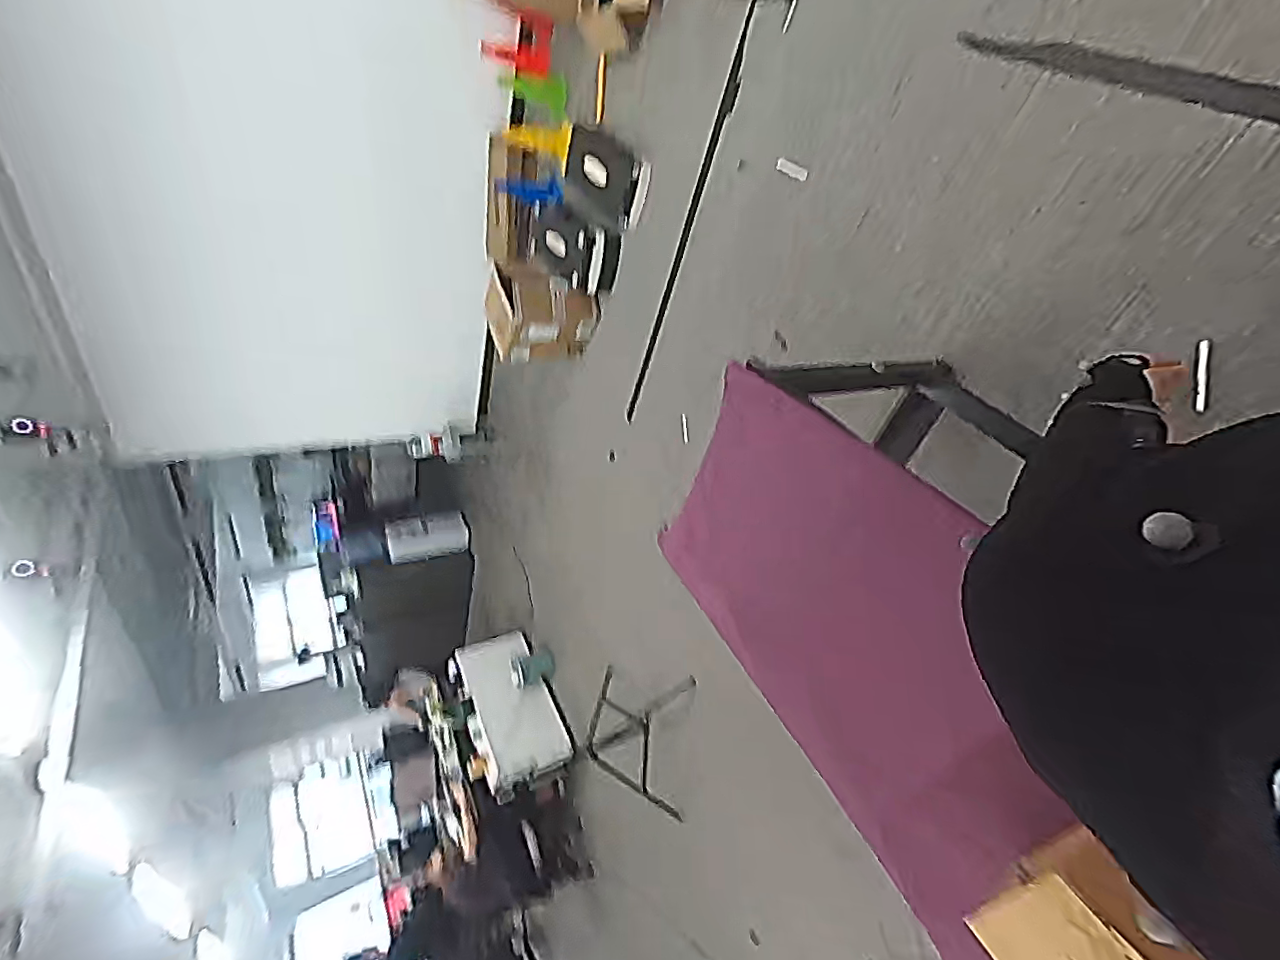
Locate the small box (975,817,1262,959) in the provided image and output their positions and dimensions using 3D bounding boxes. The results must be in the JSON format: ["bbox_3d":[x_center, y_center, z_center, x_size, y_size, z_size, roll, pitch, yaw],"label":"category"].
[{"bbox_3d":[0.553,0.542,0.634,0.168,0.176,0.179,51,136,40],"label":"small box"}]
